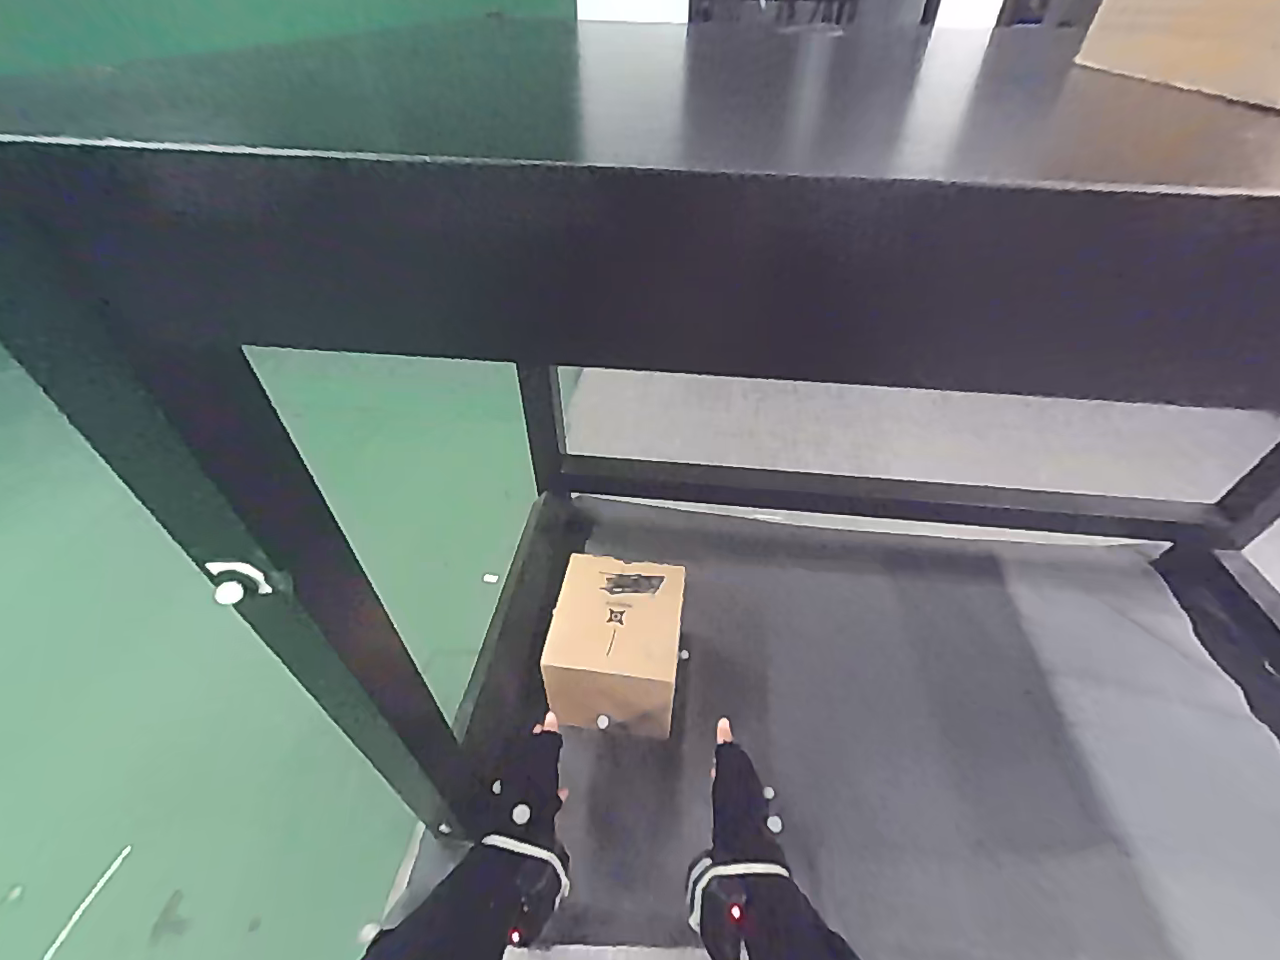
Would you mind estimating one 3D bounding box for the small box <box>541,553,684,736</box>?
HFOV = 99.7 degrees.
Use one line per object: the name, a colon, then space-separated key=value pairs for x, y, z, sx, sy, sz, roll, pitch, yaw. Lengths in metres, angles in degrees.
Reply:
small box: x=-0.032 y=0.231 z=0.762 sx=0.168 sy=0.176 sz=0.179 roll=5 pitch=43 yaw=5
